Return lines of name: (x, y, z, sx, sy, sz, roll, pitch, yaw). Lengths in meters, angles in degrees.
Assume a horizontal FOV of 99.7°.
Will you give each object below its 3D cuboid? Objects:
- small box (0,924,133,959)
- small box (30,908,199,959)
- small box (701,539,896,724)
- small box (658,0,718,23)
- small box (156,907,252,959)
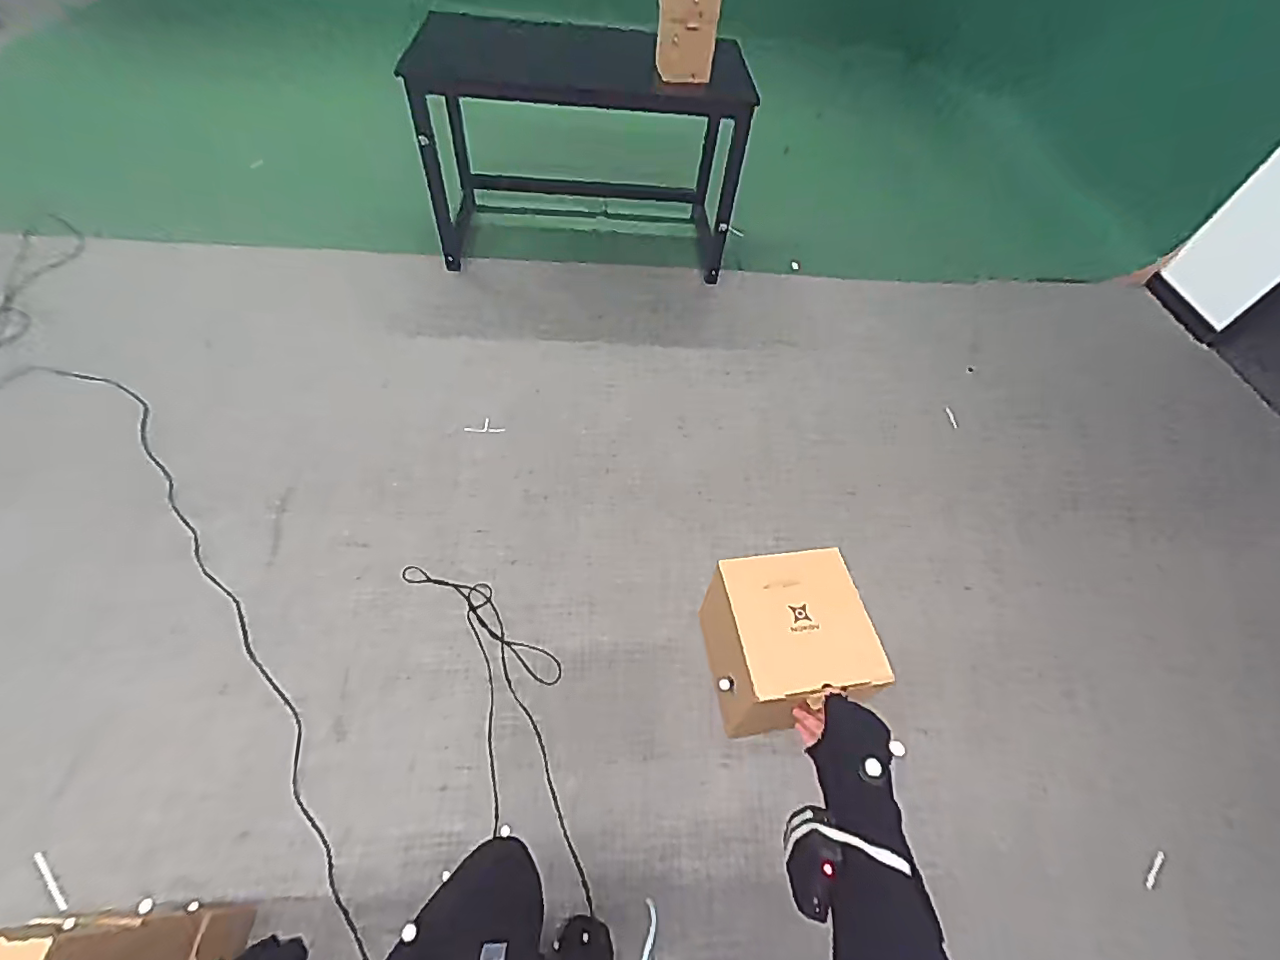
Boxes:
small box: (-0.830, 0.698, 0.701, 0.168, 0.176, 0.179, 3, 54, -3)
small box: (-0.844, 0.784, 0.838, 0.168, 0.176, 0.179, 3, 54, -3)
small box: (0.185, 0.199, 0.693, 0.168, 0.176, 0.179, -5, 52, -9)
small box: (0.156, -1.594, 1.722, 0.168, 0.176, 0.179, -6, 55, -9)
small box: (-0.851, 0.879, 0.973, 0.179, 0.176, 0.168, 3, 54, -4)
